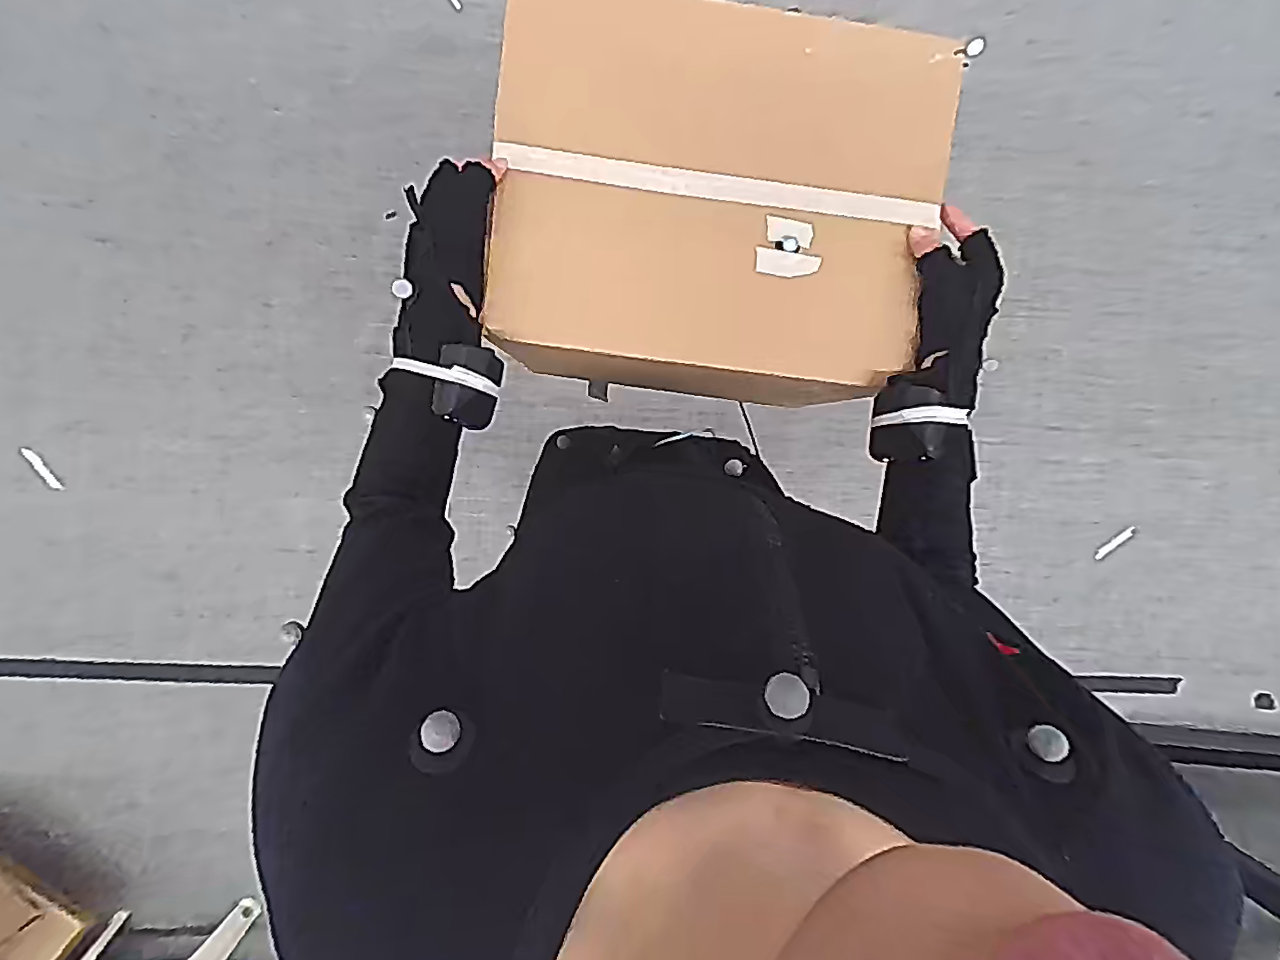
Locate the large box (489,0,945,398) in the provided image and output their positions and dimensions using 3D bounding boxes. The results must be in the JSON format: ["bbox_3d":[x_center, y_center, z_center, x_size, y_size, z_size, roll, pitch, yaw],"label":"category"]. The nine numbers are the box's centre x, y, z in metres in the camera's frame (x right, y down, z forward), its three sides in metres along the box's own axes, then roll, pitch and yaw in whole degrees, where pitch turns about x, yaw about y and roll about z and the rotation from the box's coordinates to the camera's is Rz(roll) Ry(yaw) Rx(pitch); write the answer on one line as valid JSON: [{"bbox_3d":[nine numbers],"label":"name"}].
[{"bbox_3d":[0.062,-0.282,0.648,0.408,0.320,0.320,7,96,-4],"label":"large box"}]
